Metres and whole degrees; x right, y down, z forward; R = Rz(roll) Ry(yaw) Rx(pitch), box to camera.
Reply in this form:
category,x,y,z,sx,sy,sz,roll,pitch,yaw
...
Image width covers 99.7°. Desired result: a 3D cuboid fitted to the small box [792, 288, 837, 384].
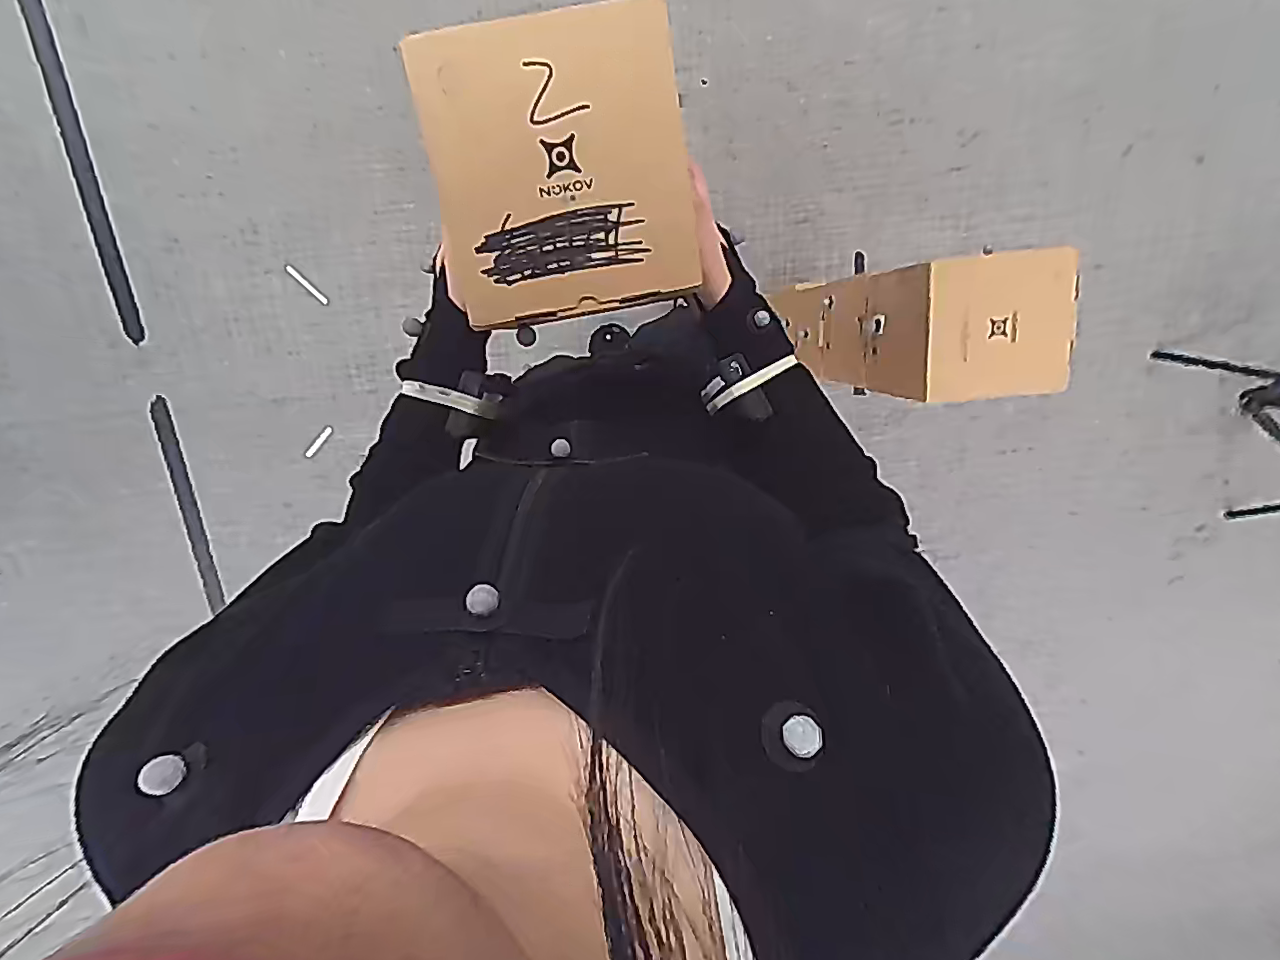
category,x,y,z,sx,sy,sz,roll,pitch,yaw
small box,0.397,-0.273,1.026,0.179,0.176,0.168,-3,105,-1

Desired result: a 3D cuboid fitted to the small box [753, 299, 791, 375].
category,x,y,z,sx,sy,sz,roll,pitch,yaw
small box,0.382,-0.361,1.341,0.168,0.176,0.179,-5,105,-1

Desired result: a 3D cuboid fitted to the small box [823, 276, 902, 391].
category,x,y,z,sx,sy,sz,roll,pitch,yaw
small box,0.406,-0.233,0.867,0.179,0.176,0.168,-4,105,-2

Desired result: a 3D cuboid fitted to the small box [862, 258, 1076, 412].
category,x,y,z,sx,sy,sz,roll,pitch,yaw
small box,0.414,-0.188,0.711,0.179,0.176,0.168,-6,104,0

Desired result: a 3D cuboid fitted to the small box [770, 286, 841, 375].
category,x,y,z,sx,sy,sz,roll,pitch,yaw
small box,0.386,-0.324,1.181,0.168,0.176,0.179,-2,105,-1
